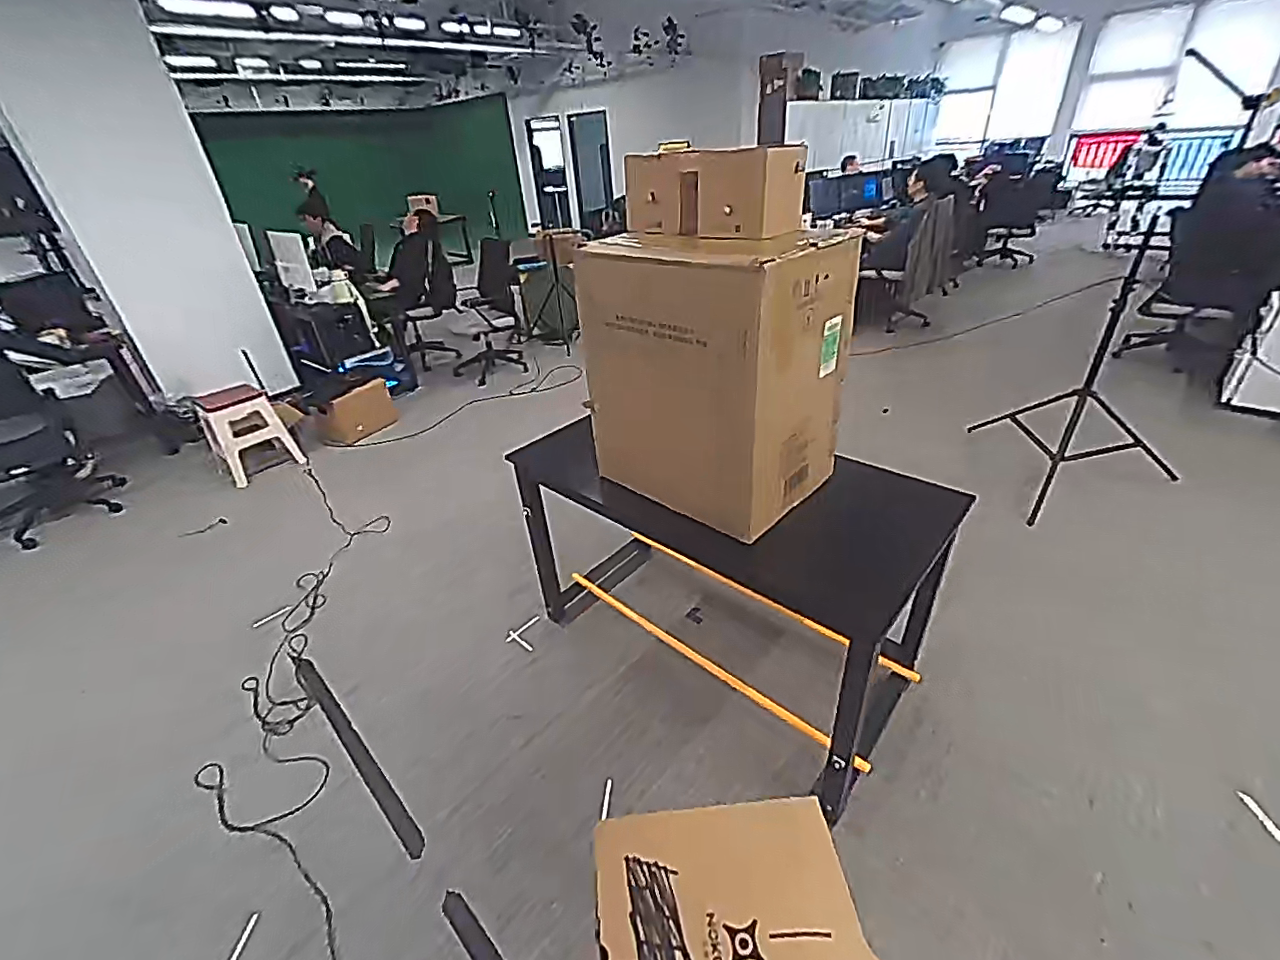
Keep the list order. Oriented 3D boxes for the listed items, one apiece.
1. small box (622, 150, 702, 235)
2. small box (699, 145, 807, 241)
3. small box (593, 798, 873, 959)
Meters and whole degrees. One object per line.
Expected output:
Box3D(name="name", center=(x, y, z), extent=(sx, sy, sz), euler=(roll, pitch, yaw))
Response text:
Box3D(name="small box", center=(0.079, -0.700, 1.317), extent=(0.168, 0.176, 0.179), euler=(21, 39, 33))
Box3D(name="small box", center=(0.241, -0.625, 1.175), extent=(0.168, 0.176, 0.179), euler=(21, 38, 36))
Box3D(name="small box", center=(0.062, 0.363, 0.393), extent=(0.179, 0.176, 0.168), euler=(-4, 36, -3))
